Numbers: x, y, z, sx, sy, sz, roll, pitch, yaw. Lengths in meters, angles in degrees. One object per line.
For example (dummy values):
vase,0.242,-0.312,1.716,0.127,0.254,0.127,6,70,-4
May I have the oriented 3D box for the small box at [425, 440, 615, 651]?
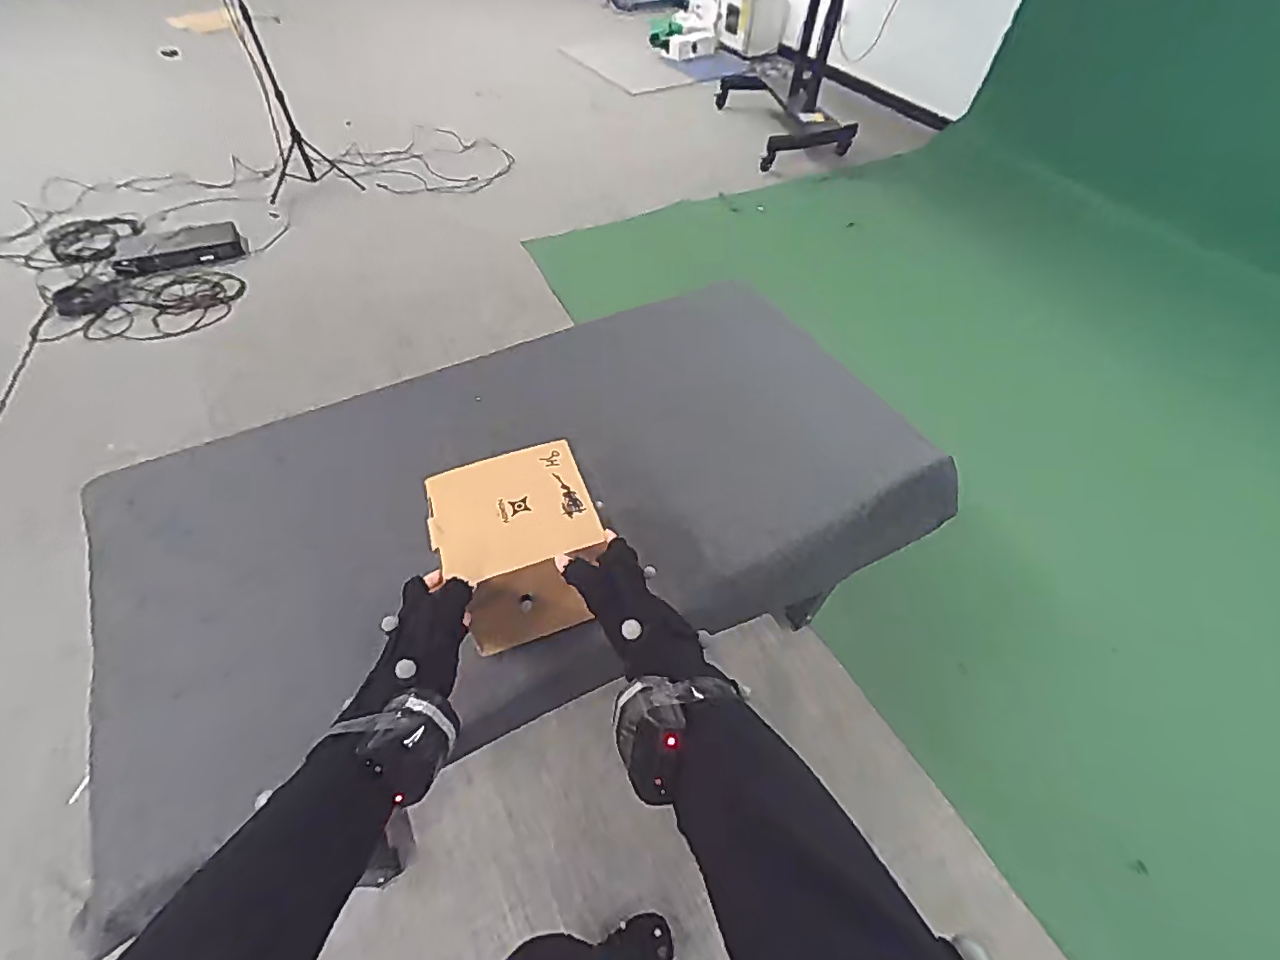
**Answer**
small box,-0.143,0.085,0.671,0.179,0.176,0.168,-19,51,-11
